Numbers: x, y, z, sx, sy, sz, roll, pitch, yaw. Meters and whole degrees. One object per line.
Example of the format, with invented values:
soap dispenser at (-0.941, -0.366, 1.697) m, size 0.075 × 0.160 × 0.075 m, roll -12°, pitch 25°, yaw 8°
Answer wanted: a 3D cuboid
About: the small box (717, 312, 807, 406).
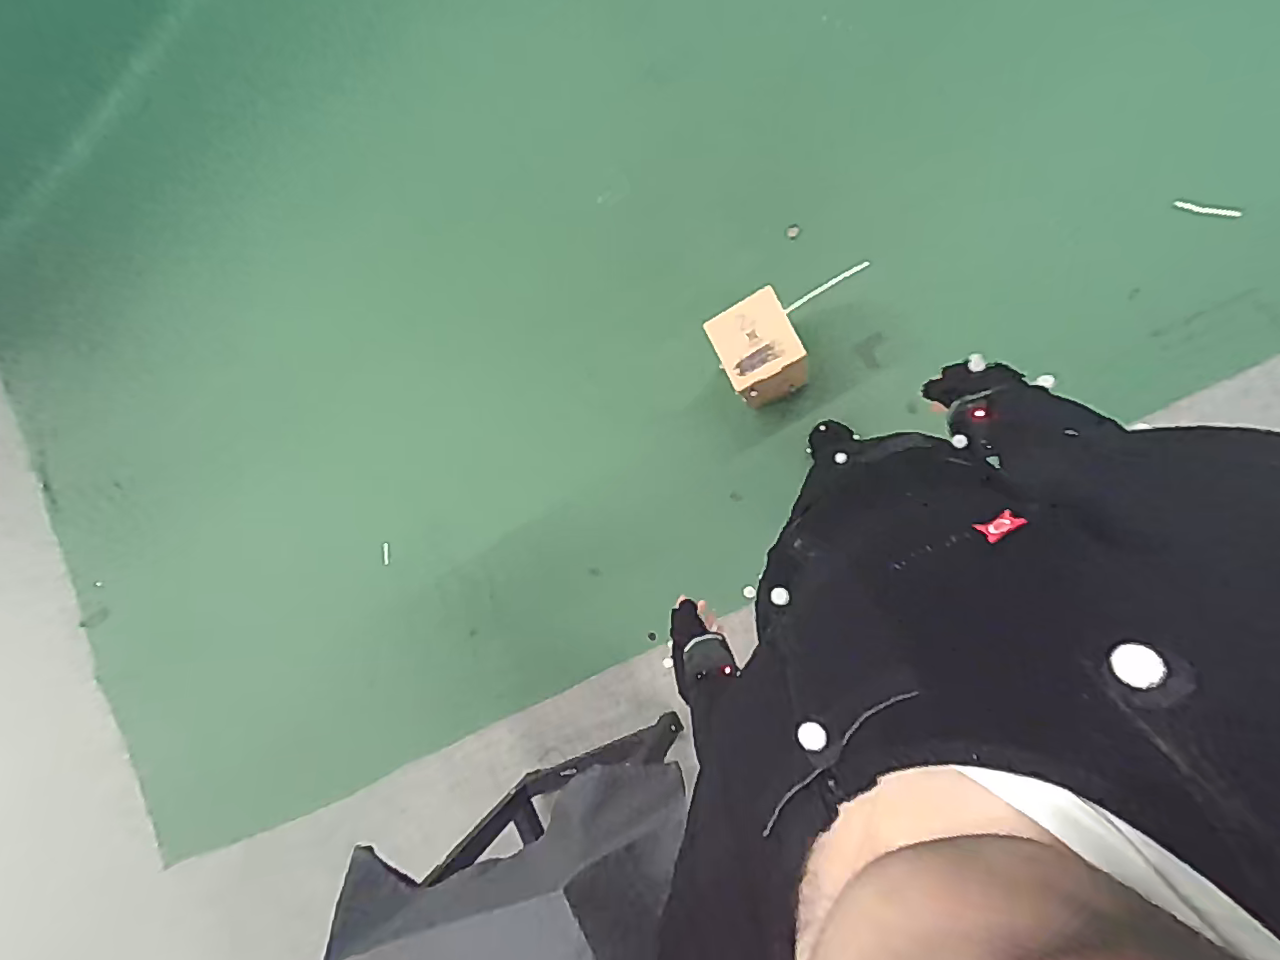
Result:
small box at (0.321, -0.300, 1.396) m, size 0.168 × 0.176 × 0.179 m, roll -25°, pitch 83°, yaw 18°
